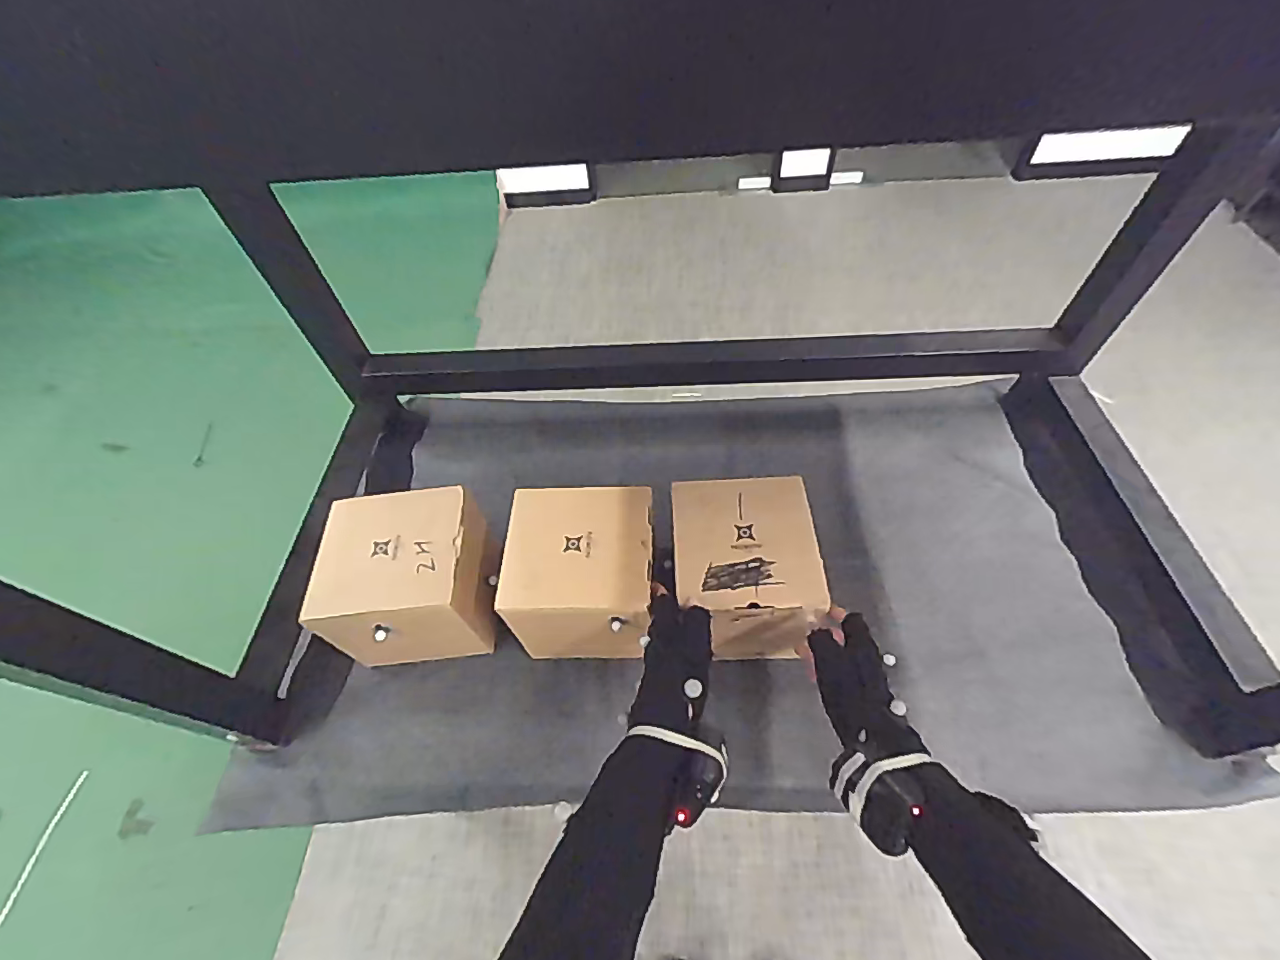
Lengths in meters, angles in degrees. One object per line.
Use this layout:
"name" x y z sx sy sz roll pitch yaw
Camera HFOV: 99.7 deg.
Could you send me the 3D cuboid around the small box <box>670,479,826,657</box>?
"small box" 0.125 0.119 0.689 0.168 0.176 0.179 -2 53 3
